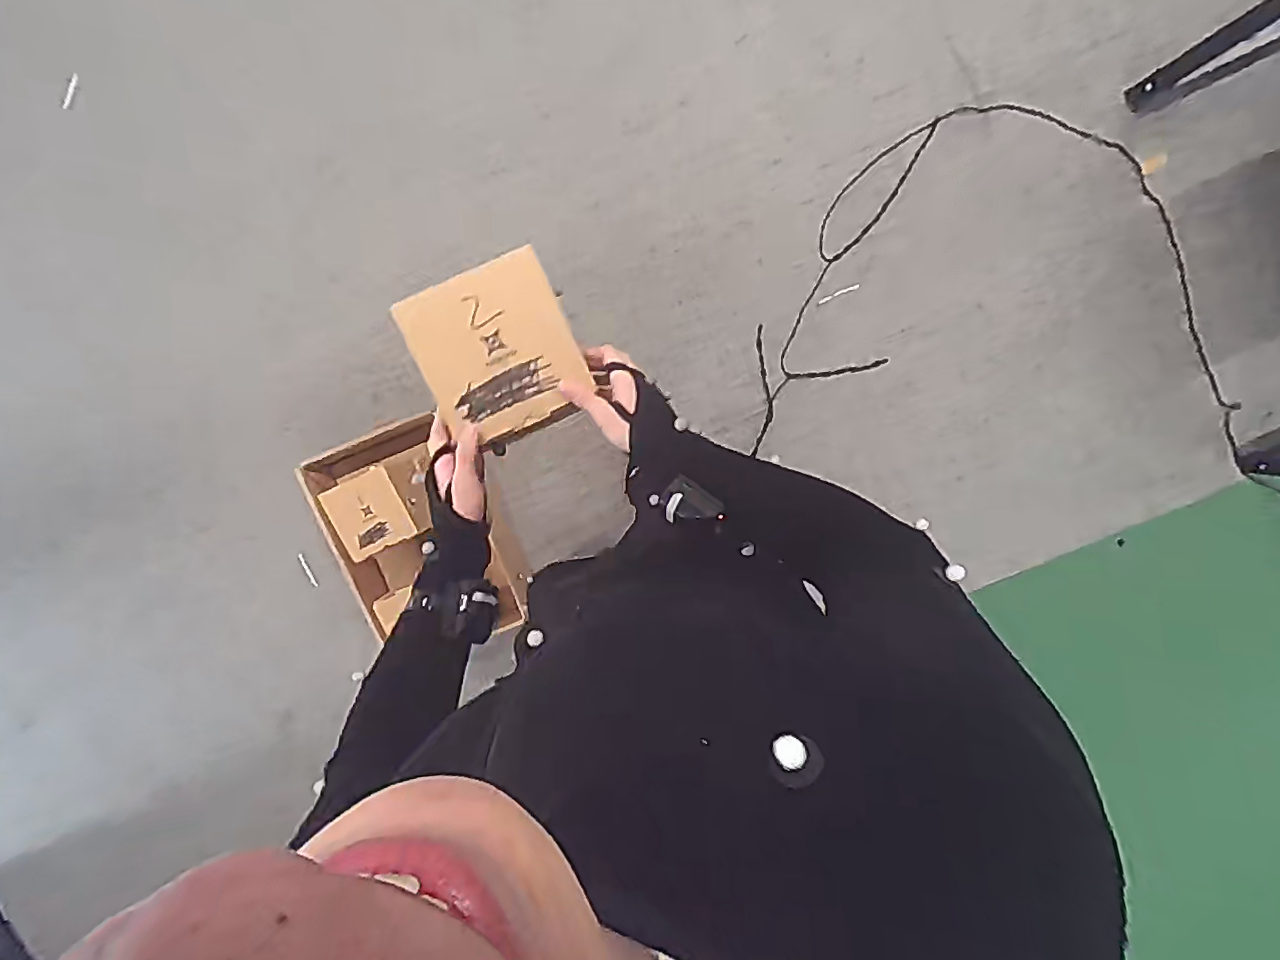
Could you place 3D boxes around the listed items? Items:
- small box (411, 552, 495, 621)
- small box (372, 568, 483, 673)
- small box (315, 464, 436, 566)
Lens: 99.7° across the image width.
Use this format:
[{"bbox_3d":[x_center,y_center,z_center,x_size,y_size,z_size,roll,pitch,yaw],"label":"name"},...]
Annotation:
[{"bbox_3d":[-0.513,0.313,1.479,0.179,0.176,0.168,-22,96,2],"label":"small box"},{"bbox_3d":[-0.507,0.329,1.315,0.168,0.176,0.179,-23,96,2],"label":"small box"},{"bbox_3d":[-0.614,0.076,1.282,0.168,0.176,0.179,-25,97,1],"label":"small box"}]
